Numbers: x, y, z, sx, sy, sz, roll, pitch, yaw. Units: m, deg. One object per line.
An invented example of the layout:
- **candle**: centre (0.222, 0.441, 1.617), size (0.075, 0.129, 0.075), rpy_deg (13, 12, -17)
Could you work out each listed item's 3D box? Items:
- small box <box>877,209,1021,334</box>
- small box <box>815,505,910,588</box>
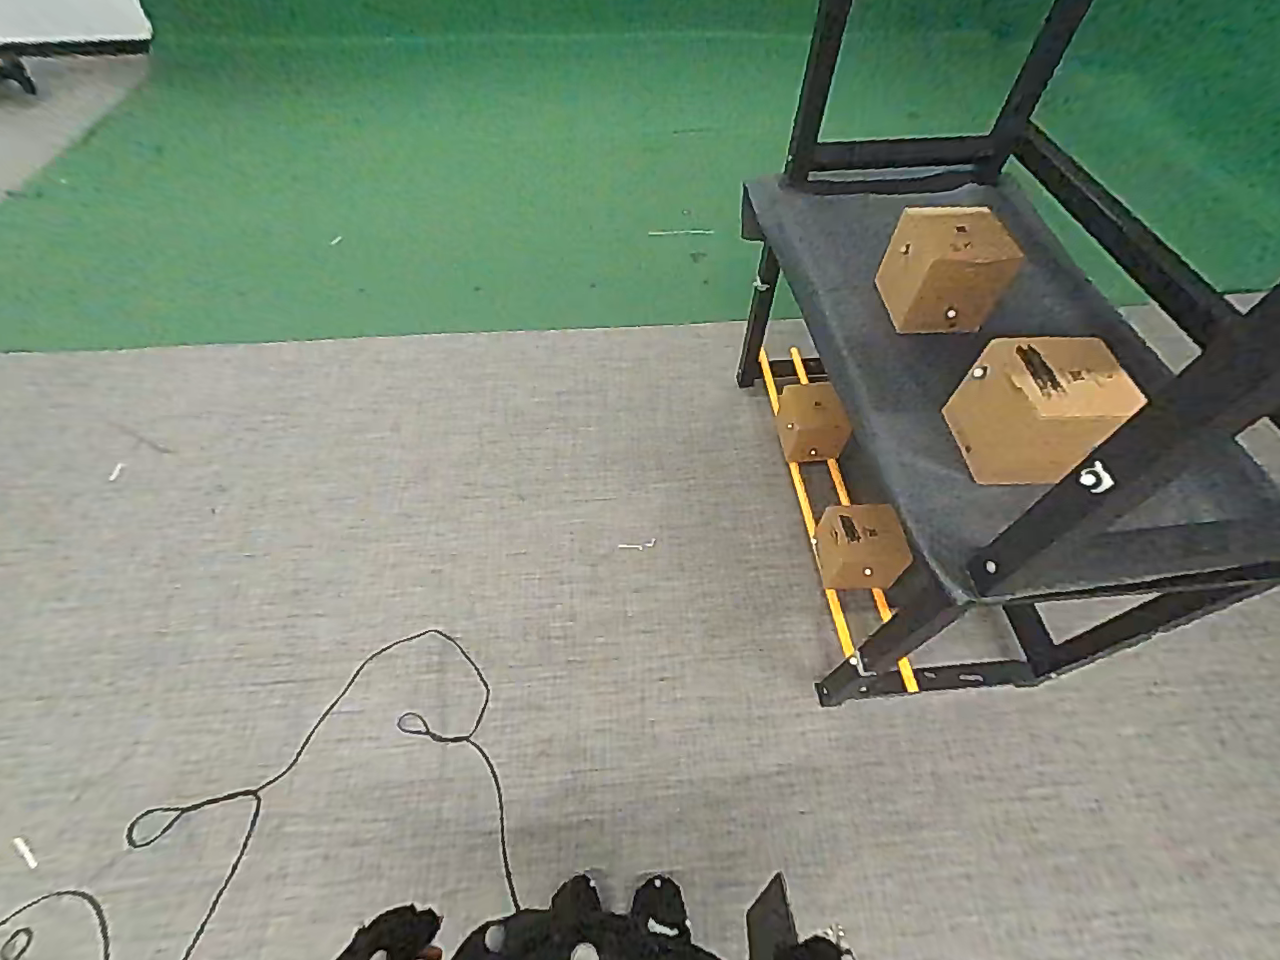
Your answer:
- **small box**: centre (0.599, -0.414, 1.078), size (0.168, 0.176, 0.179), rpy_deg (-1, 56, -1)
- **small box**: centre (0.574, 0.179, 1.425), size (0.179, 0.176, 0.168), rpy_deg (-1, 56, 0)
